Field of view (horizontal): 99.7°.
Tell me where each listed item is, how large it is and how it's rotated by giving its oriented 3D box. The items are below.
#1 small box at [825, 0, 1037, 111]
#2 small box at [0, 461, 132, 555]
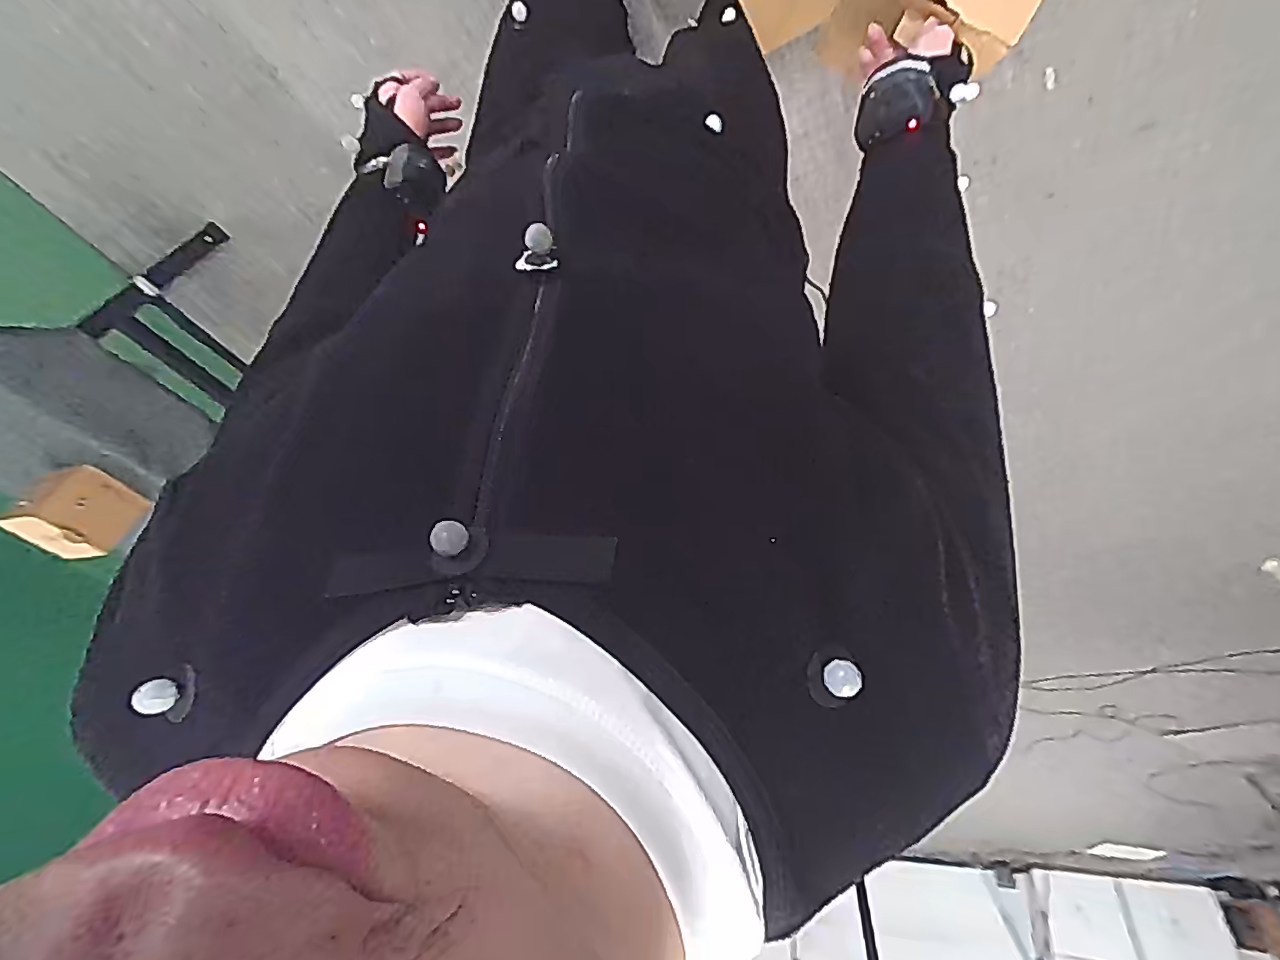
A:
[{"bbox_3d":[0.317,-0.534,0.560,0.168,0.176,0.179,28,102,-6],"label":"small box"},{"bbox_3d":[-1.433,0.067,1.341,0.179,0.176,0.168,-6,136,21],"label":"small box"}]
